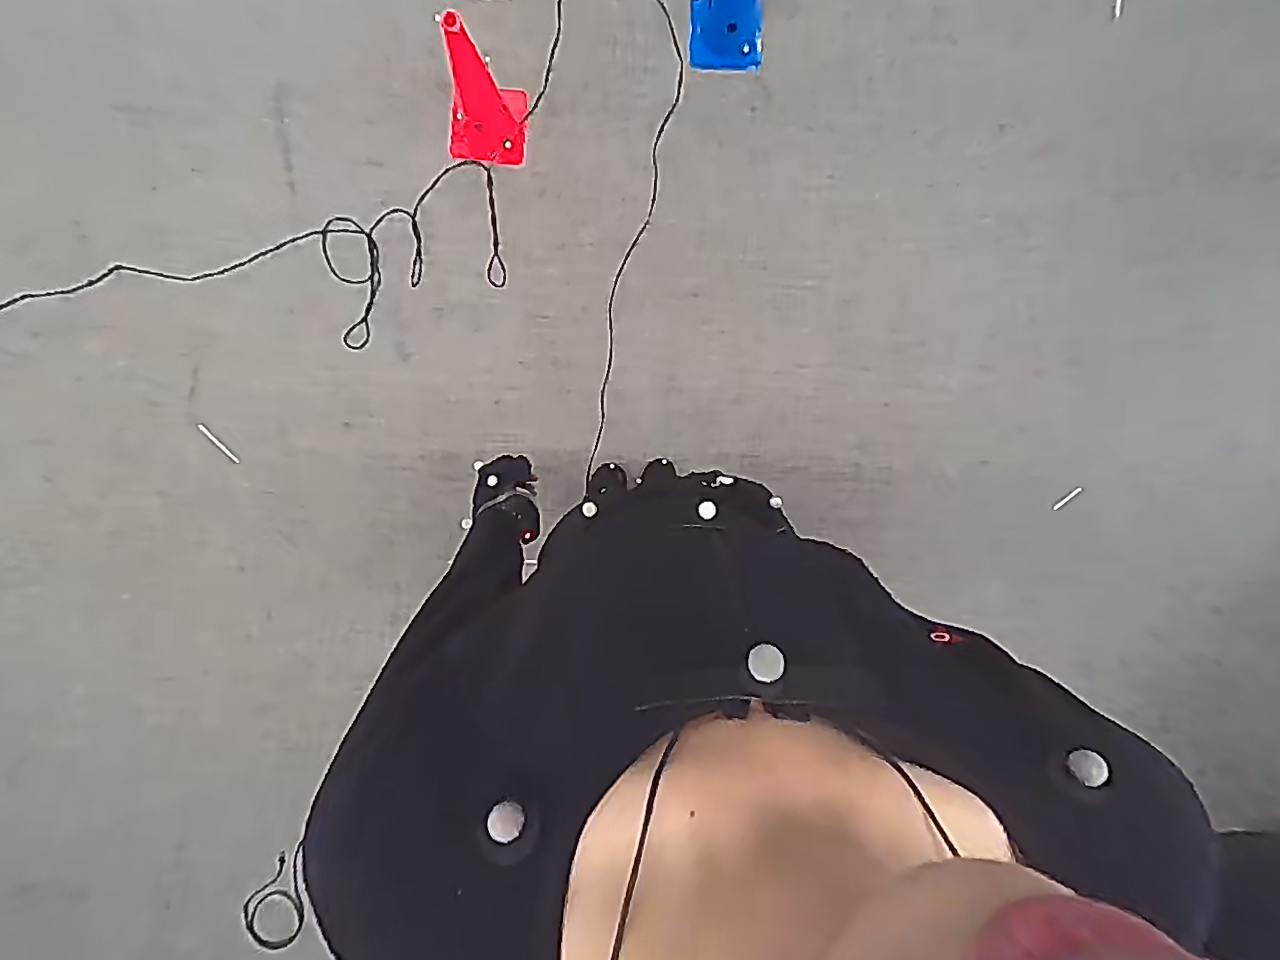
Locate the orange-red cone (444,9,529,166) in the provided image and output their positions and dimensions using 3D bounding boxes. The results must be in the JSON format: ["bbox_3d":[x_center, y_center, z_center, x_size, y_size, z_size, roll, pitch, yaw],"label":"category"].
[{"bbox_3d":[-0.394,-0.947,1.274,0.198,0.360,0.199,6,91,-4],"label":"orange-red cone"}]
